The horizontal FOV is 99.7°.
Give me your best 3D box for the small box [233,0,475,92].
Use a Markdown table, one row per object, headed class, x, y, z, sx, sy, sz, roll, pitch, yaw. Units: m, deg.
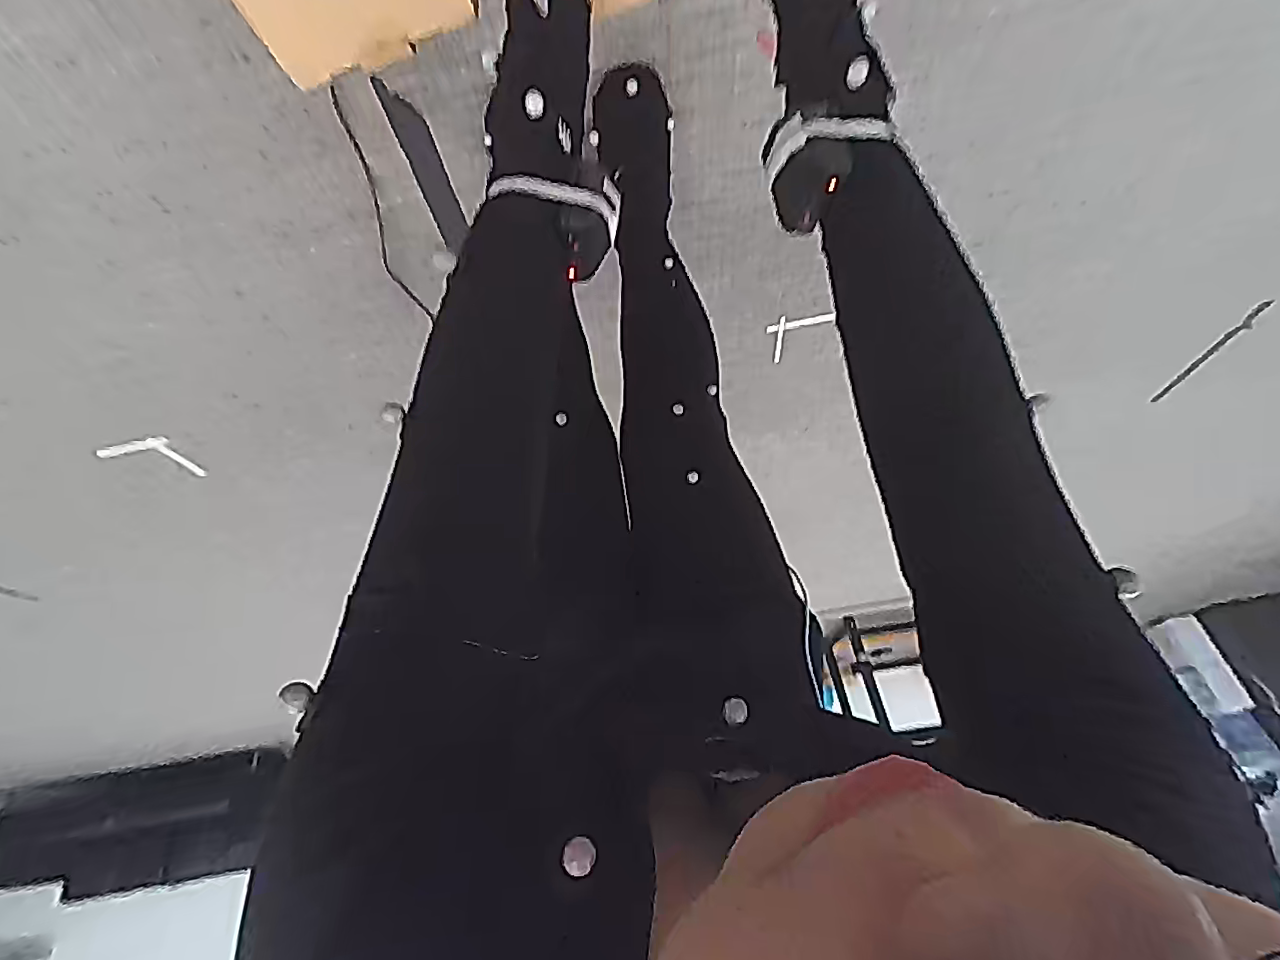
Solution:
| class | x | y | z | sx | sy | sz | roll | pitch | yaw |
| --- | --- | --- | --- | --- | --- | --- | --- | --- | --- |
| small box | -0.238 | -0.450 | 0.407 | 0.168 | 0.176 | 0.179 | -15 | 149 | 8 |
